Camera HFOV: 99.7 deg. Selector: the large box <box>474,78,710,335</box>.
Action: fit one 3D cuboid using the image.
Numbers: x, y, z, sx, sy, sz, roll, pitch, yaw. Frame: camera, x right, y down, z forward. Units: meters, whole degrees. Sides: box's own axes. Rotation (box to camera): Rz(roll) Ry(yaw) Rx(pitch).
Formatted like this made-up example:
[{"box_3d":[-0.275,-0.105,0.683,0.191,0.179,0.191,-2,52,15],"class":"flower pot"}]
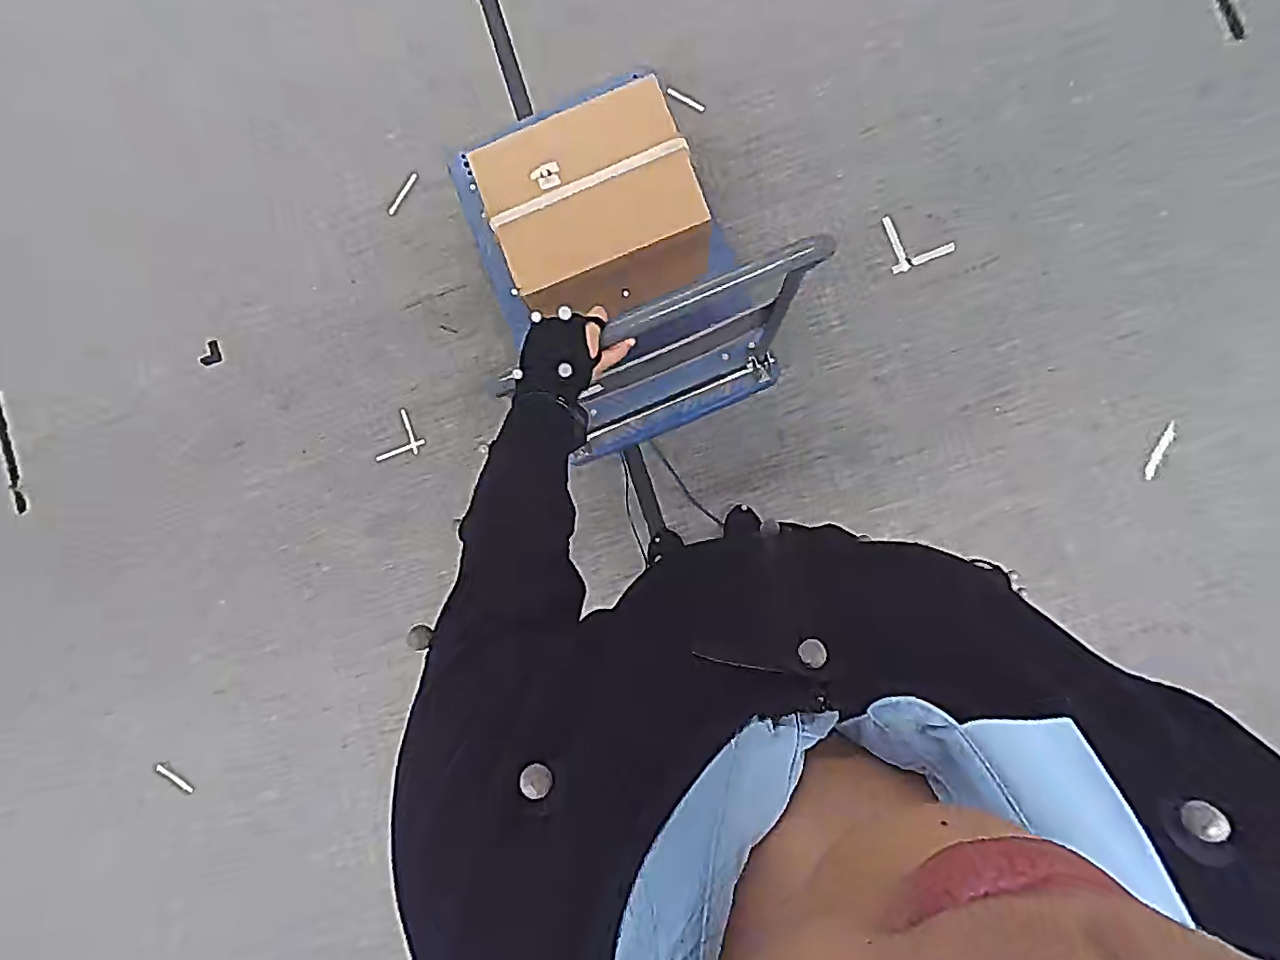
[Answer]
[{"box_3d":[-0.086,-0.579,1.220,0.408,0.320,0.320,-21,87,5],"class":"large box"}]
